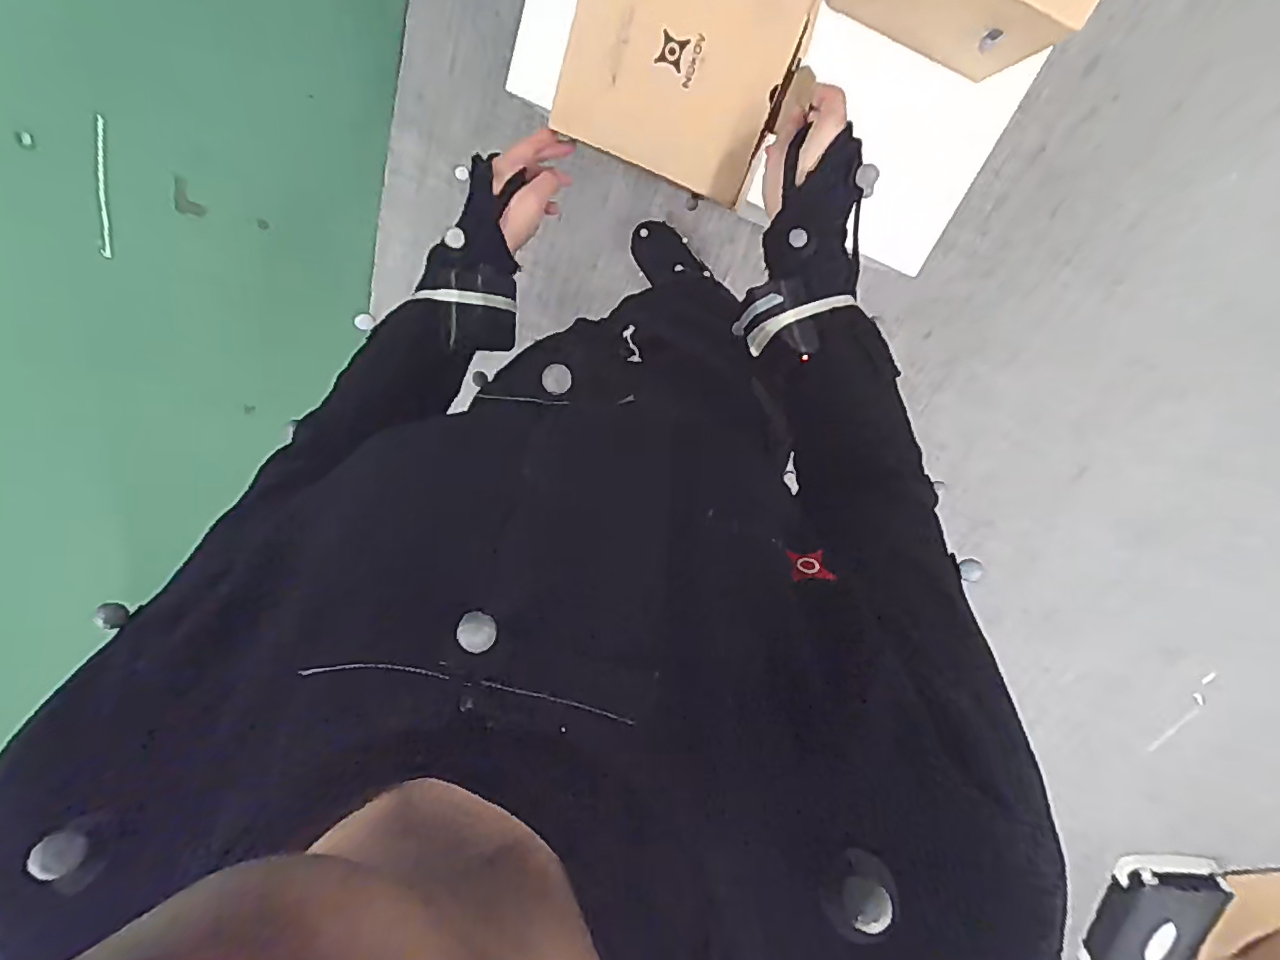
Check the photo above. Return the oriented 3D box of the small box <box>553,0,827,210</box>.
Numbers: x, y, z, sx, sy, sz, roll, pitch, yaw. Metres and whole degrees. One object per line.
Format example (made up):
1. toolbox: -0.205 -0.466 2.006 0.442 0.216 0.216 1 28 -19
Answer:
1. small box: 0.048 -0.362 0.493 0.179 0.176 0.168 23 116 2
